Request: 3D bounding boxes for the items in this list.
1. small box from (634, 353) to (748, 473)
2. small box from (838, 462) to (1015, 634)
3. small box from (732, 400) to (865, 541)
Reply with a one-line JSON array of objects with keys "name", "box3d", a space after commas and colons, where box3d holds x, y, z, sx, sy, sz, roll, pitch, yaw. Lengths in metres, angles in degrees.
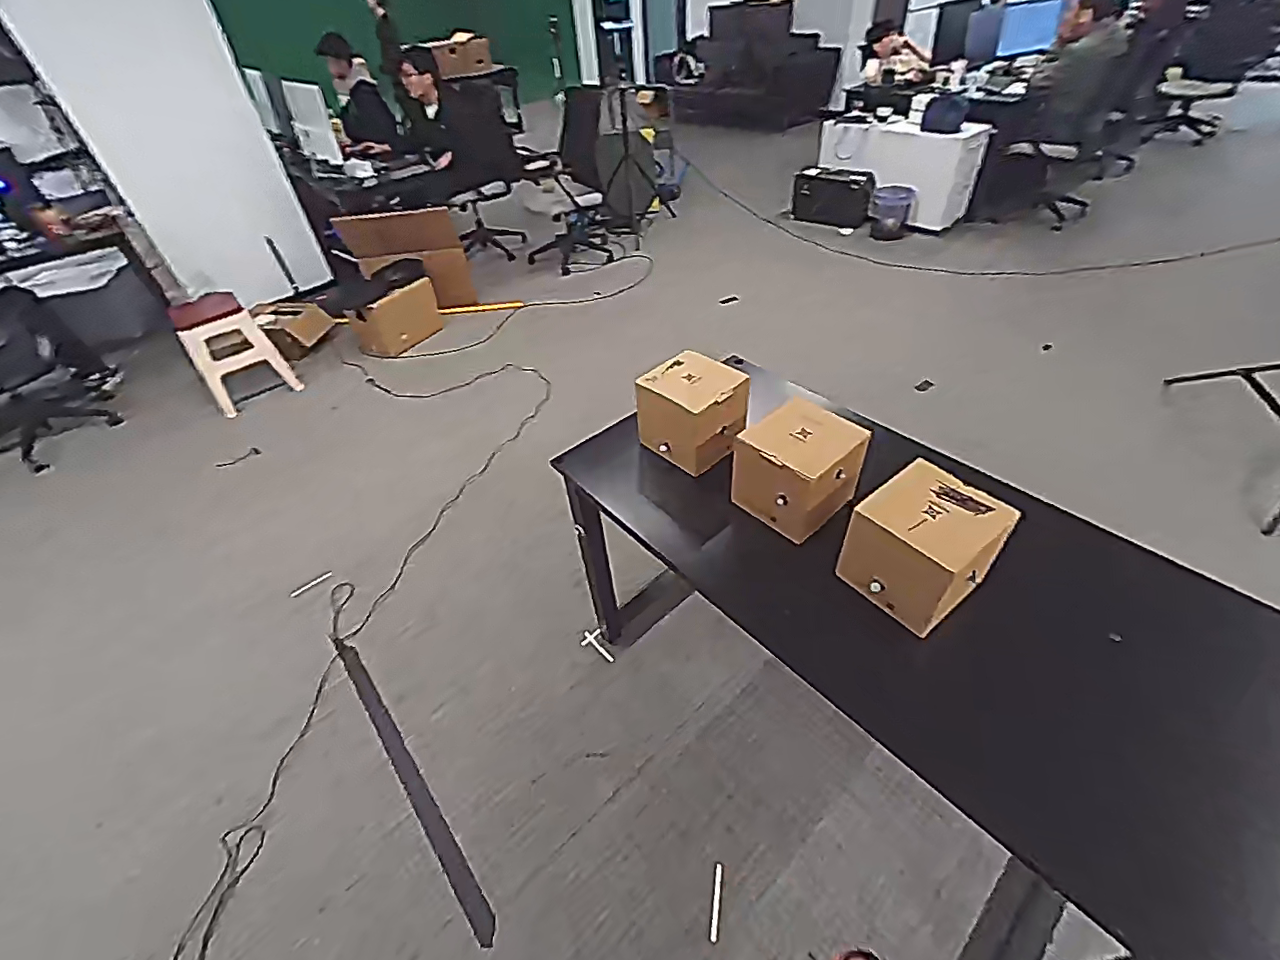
[{"name": "small box", "box3d": [0.108, -0.139, 1.162, 0.168, 0.176, 0.179, -35, 52, -29]}, {"name": "small box", "box3d": [0.444, 0.108, 0.866, 0.179, 0.176, 0.168, -30, 49, -24]}, {"name": "small box", "box3d": [0.289, -0.017, 1.017, 0.179, 0.176, 0.168, -33, 51, -28]}]
